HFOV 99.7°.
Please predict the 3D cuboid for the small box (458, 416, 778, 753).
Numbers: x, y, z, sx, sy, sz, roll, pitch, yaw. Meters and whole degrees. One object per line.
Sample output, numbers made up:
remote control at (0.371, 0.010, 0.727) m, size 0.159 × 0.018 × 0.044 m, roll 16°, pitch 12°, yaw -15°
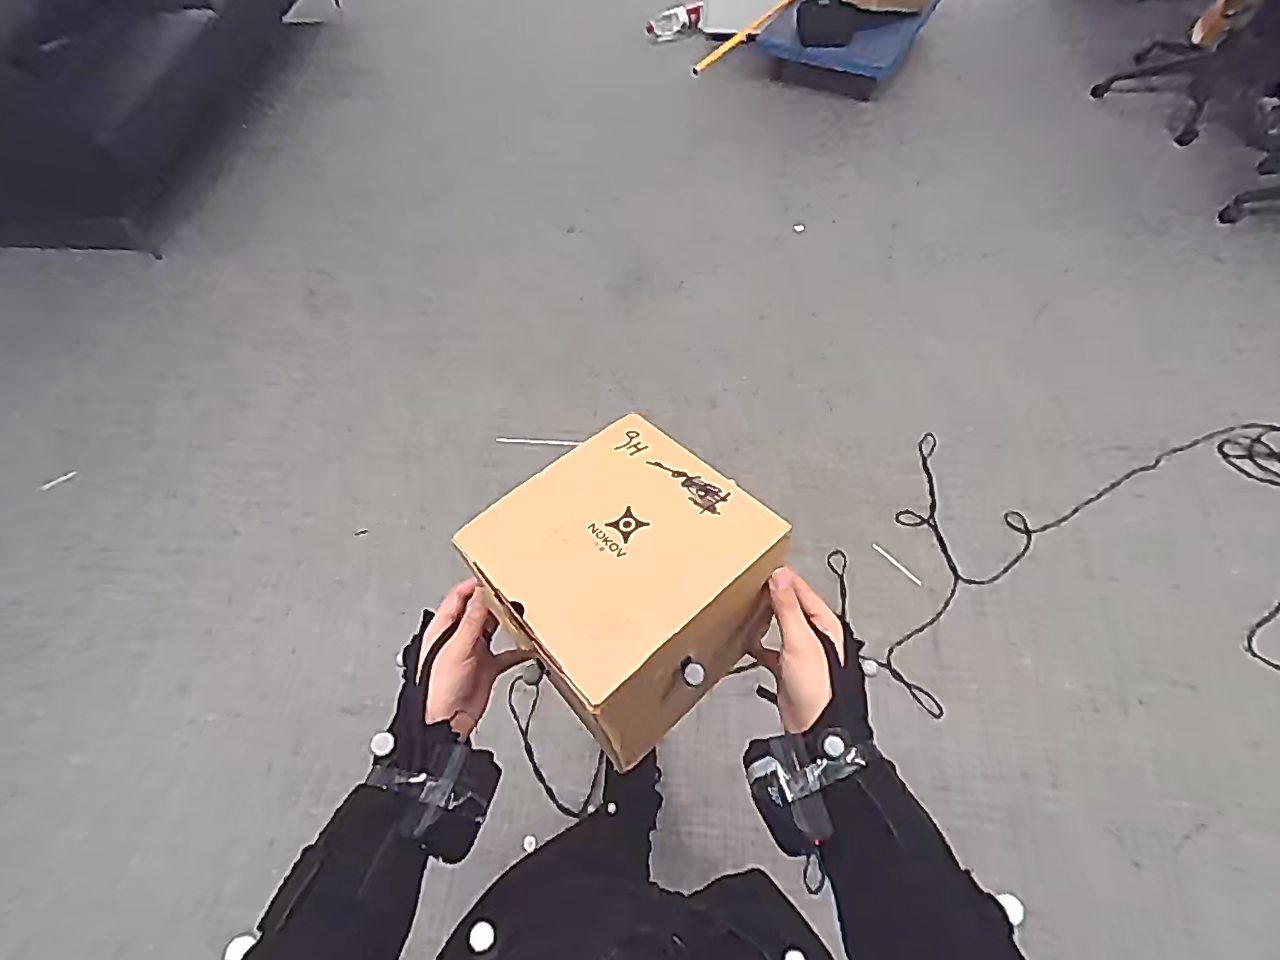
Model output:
small box at (-0.009, 0.087, 0.444) m, size 0.179 × 0.176 × 0.168 m, roll -37°, pitch 56°, yaw -21°
